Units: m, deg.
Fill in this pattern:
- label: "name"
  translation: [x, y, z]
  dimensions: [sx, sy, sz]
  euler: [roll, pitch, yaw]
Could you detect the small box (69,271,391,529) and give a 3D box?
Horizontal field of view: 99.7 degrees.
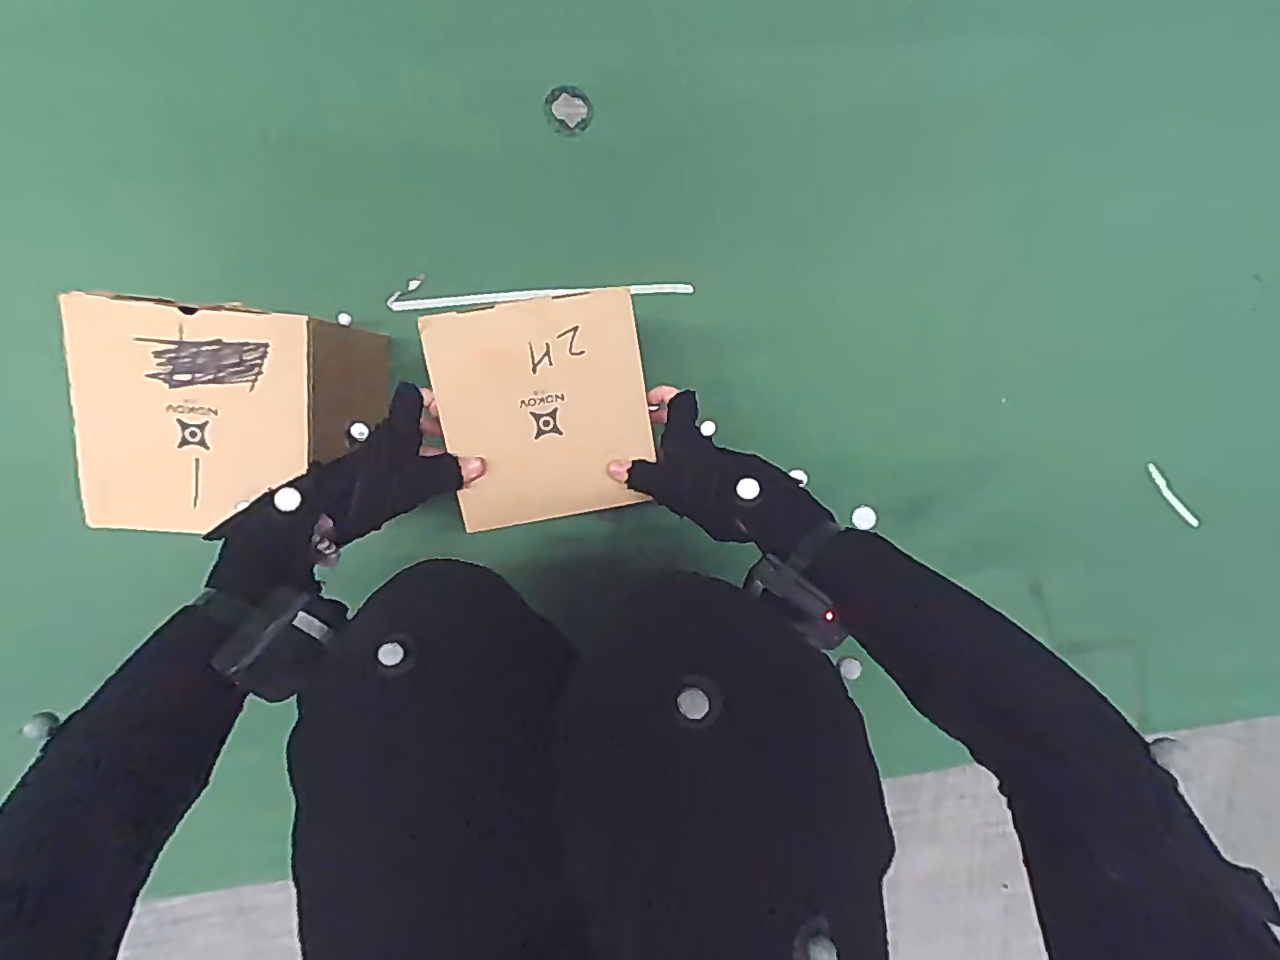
- label: "small box"
  translation: [-0.334, -0.068, 0.477]
  dimensions: [0.168, 0.176, 0.179]
  euler: [5, 100, -7]
